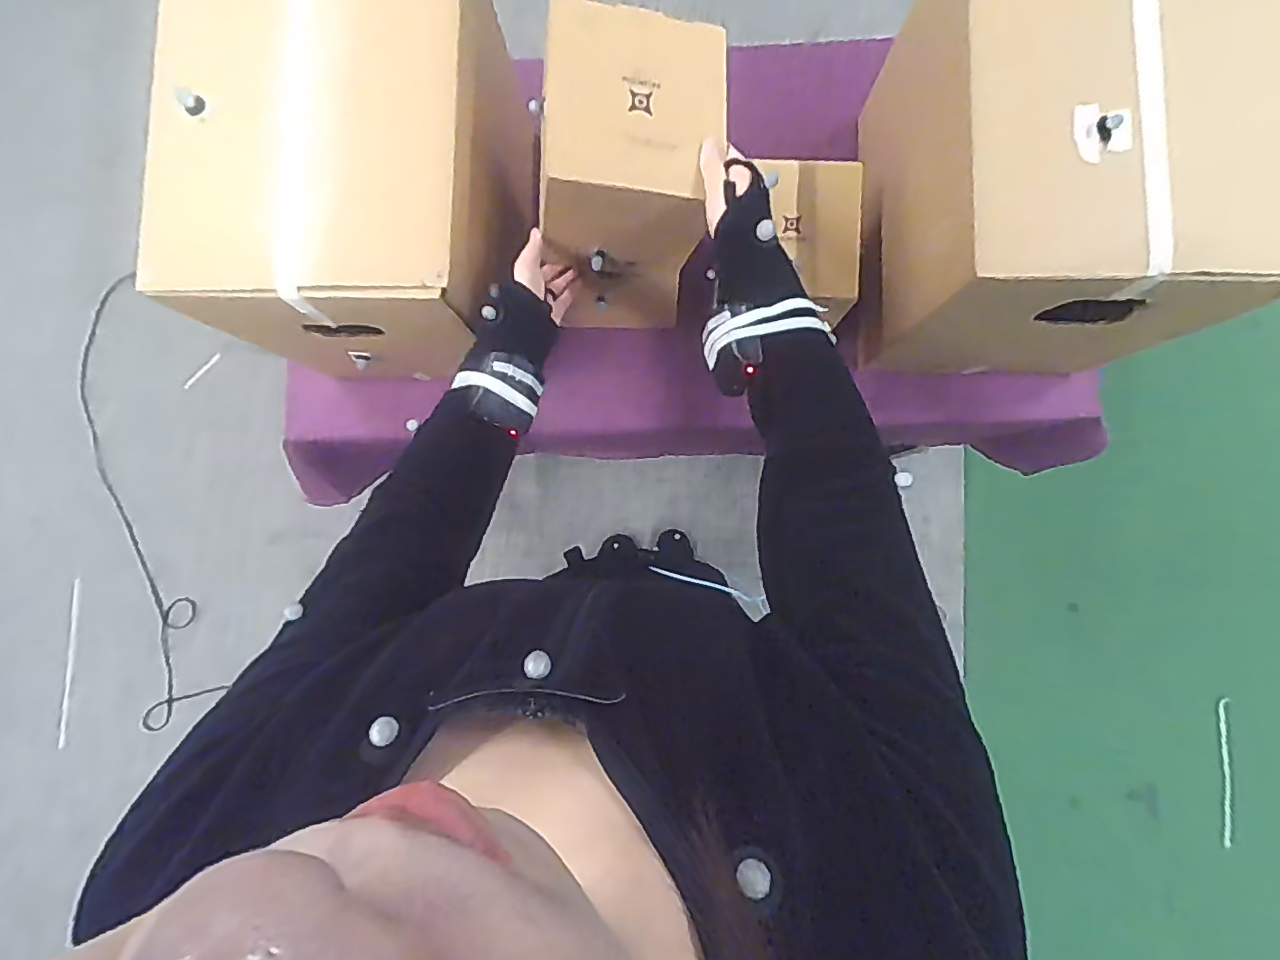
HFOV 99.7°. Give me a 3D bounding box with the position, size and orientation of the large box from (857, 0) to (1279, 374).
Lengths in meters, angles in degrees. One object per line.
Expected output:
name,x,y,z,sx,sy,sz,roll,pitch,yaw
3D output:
large box,0.478,-0.369,0.667,0.320,0.320,0.408,2,86,2
